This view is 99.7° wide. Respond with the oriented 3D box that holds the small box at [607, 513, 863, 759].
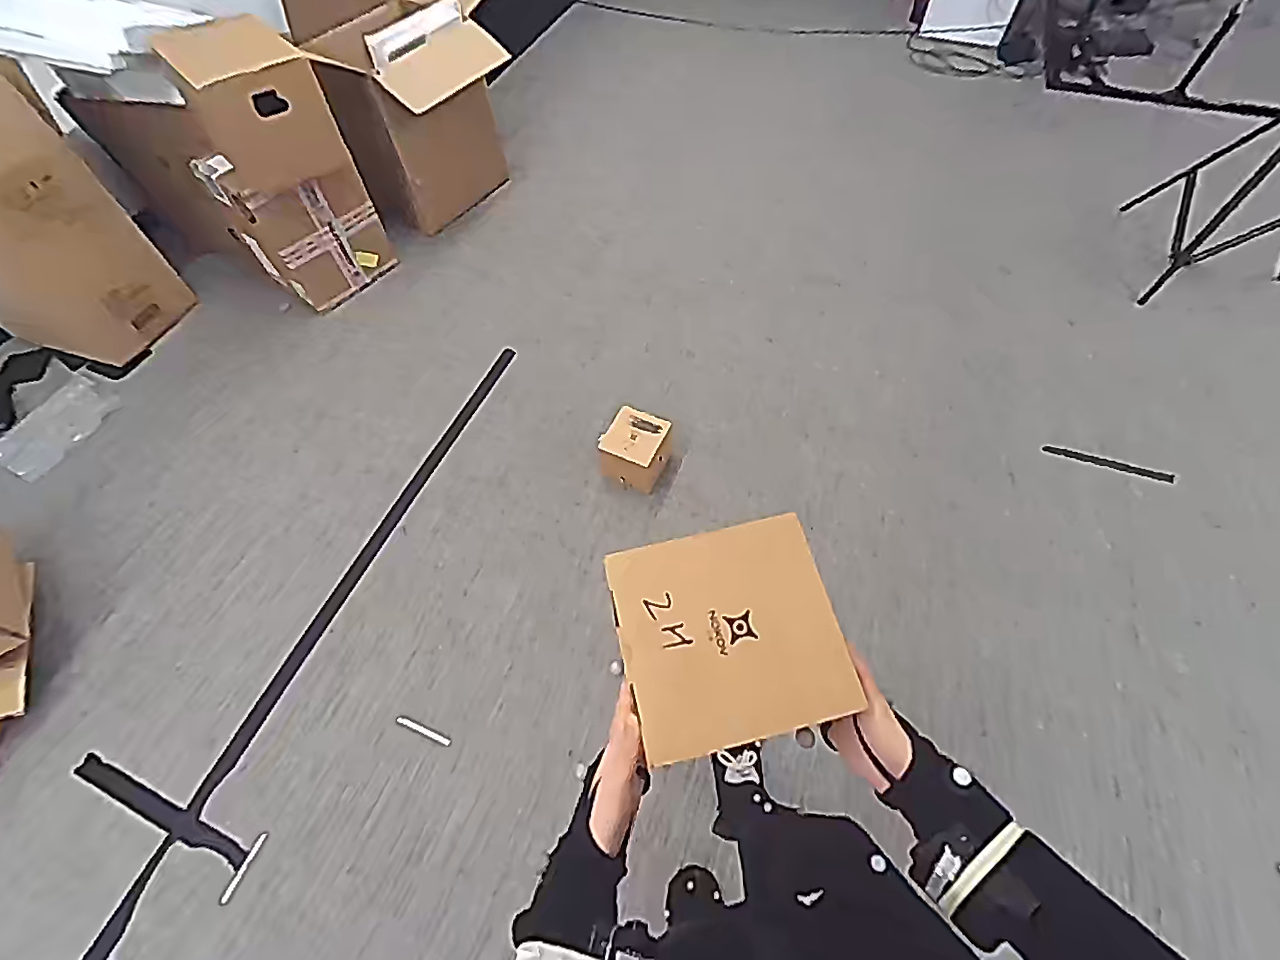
[{"bbox_3d":[0.070,0.148,0.509,0.179,0.176,0.168,-12,67,-5],"label":"small box"}]
